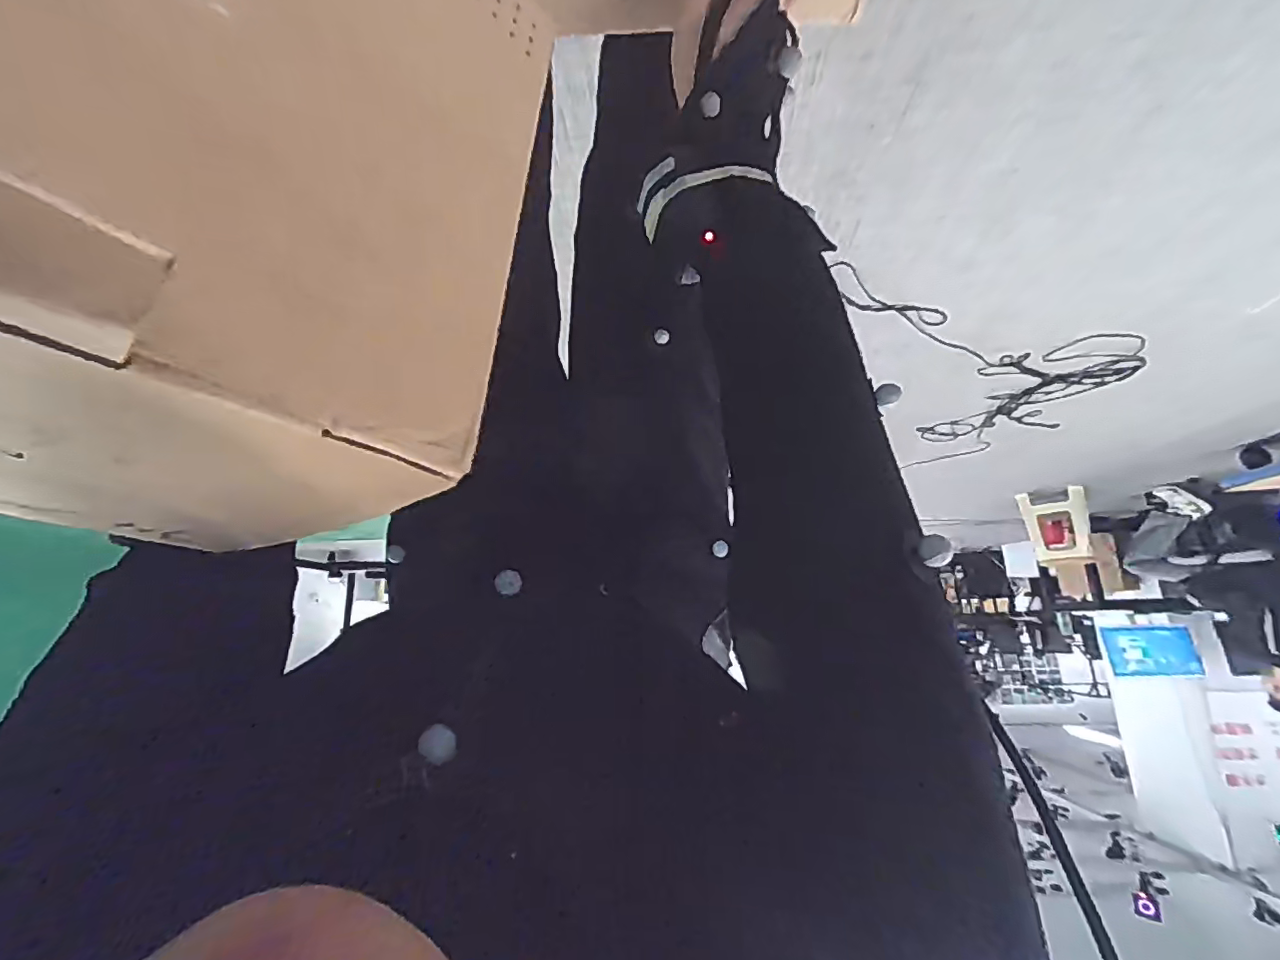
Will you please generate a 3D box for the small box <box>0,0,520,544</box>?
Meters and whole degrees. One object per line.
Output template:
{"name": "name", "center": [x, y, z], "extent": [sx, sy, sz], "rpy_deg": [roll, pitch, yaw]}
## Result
{"name": "small box", "center": [-0.148, -0.088, 0.142], "extent": [0.179, 0.176, 0.168], "rpy_deg": [-12, 155, 36]}
